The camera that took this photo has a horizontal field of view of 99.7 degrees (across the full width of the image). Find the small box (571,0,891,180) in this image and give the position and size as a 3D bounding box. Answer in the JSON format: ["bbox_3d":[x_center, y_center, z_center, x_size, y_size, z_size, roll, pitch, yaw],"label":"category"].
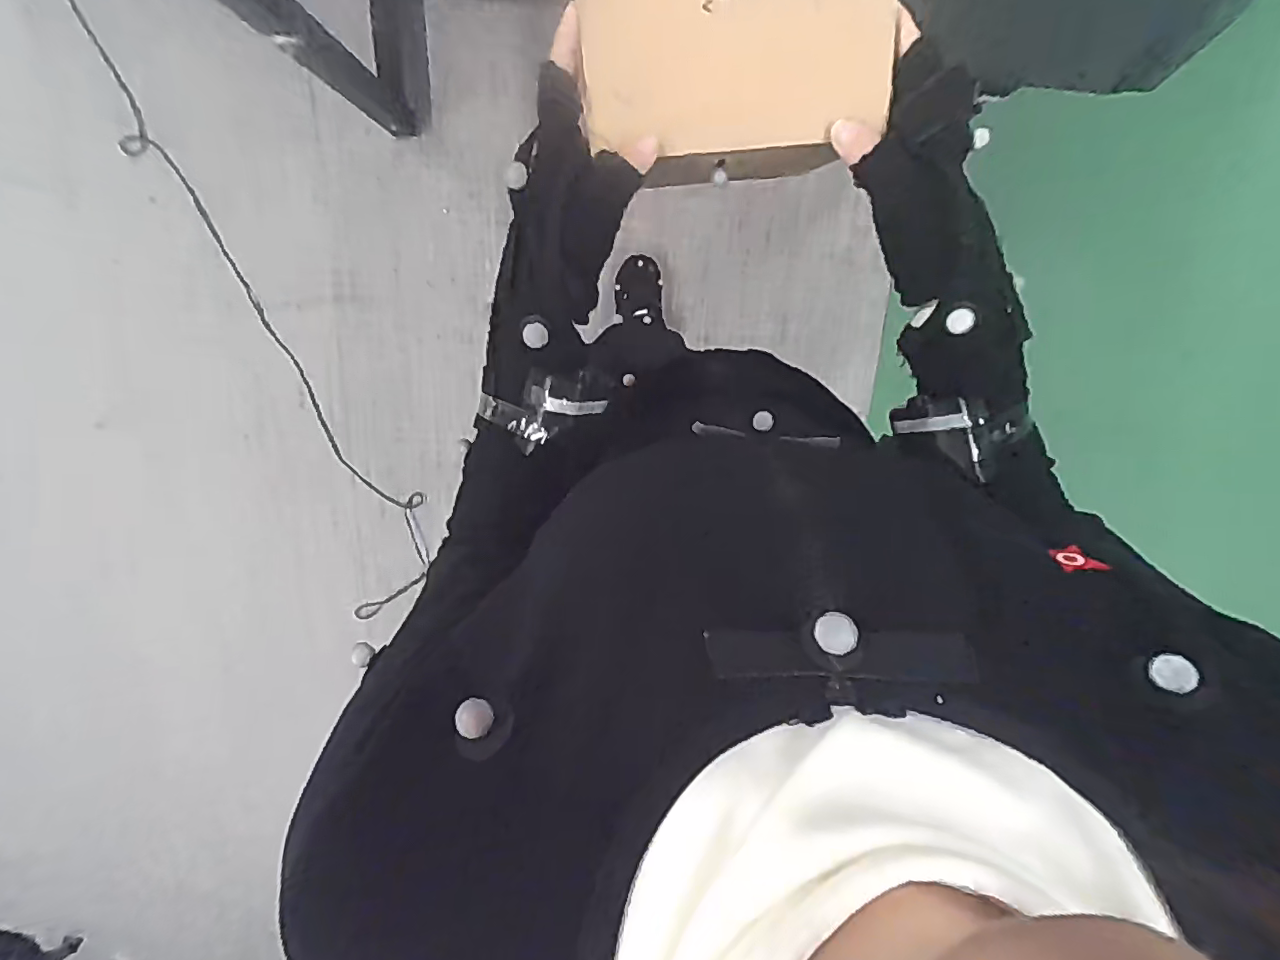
[{"bbox_3d":[0.048,-0.306,0.359,0.179,0.176,0.168,-5,114,1],"label":"small box"}]
